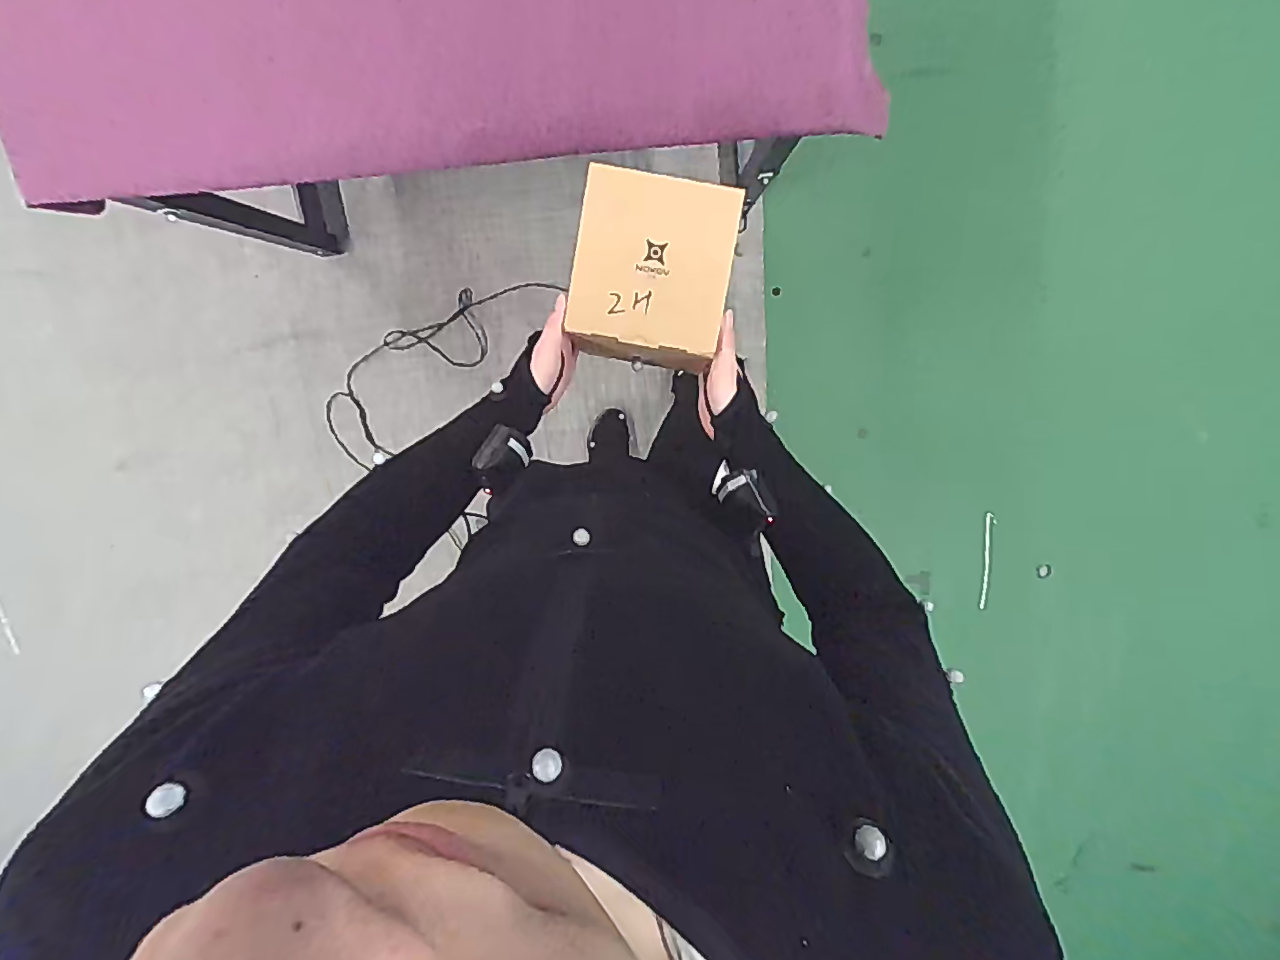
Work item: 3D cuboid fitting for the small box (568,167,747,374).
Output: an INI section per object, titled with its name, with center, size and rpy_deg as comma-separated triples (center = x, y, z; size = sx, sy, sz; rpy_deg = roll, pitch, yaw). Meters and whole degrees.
[small box]
center = 0.017, -0.235, 0.650
size = 0.168, 0.176, 0.179
rpy_deg = 10, 96, -1
